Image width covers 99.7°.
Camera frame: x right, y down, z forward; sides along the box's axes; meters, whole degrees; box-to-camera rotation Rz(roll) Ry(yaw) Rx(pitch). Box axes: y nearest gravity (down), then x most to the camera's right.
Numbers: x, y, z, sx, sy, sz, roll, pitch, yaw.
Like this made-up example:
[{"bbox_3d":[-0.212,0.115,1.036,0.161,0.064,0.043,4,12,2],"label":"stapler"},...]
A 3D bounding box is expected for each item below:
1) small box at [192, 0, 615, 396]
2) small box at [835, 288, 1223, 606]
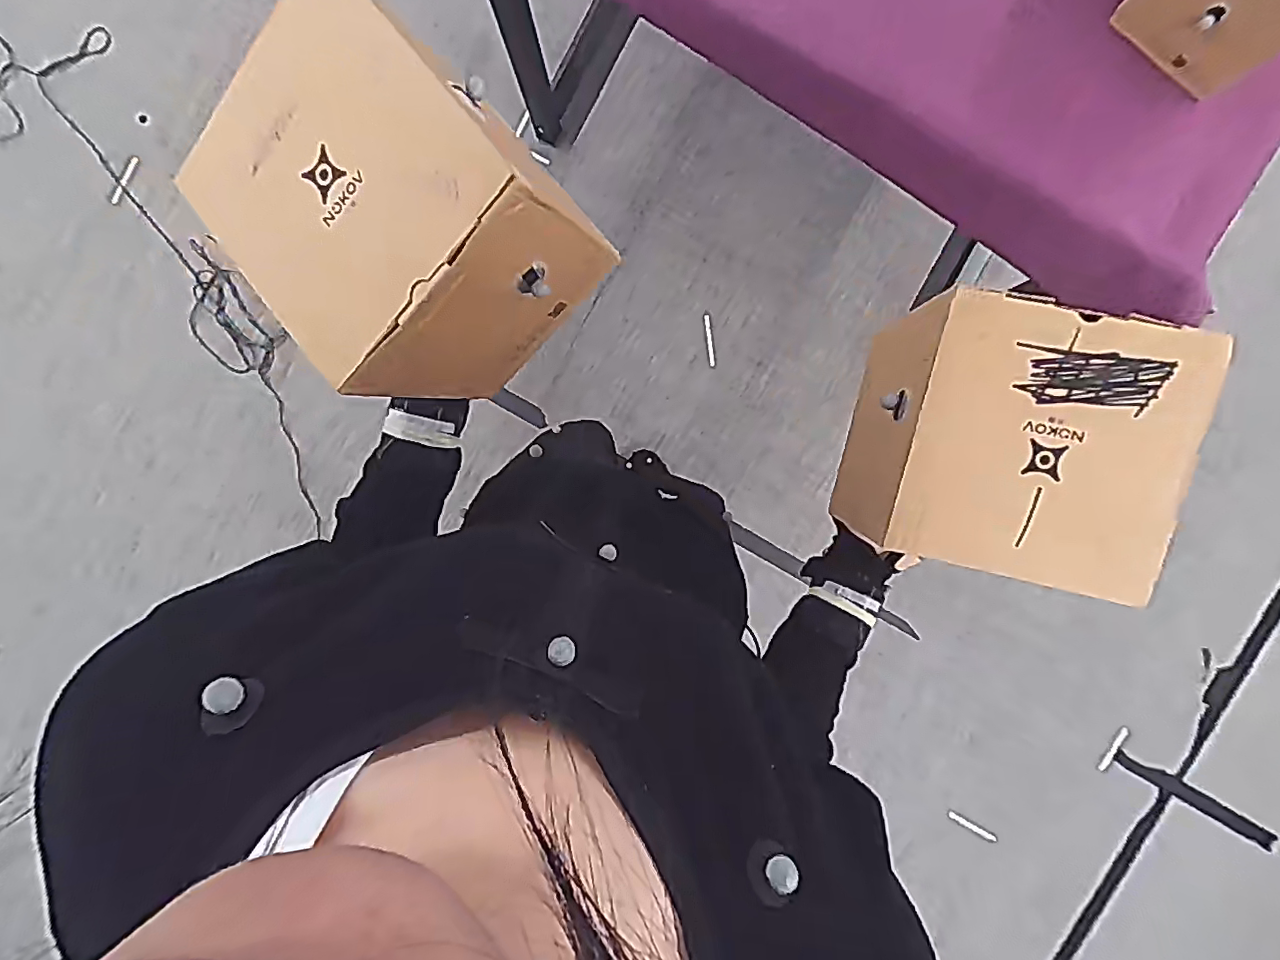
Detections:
[{"bbox_3d":[-0.145,-0.177,0.382,0.168,0.176,0.179,-41,84,16],"label":"small box"},{"bbox_3d":[0.270,-0.027,0.426,0.168,0.176,0.179,14,97,6],"label":"small box"}]
